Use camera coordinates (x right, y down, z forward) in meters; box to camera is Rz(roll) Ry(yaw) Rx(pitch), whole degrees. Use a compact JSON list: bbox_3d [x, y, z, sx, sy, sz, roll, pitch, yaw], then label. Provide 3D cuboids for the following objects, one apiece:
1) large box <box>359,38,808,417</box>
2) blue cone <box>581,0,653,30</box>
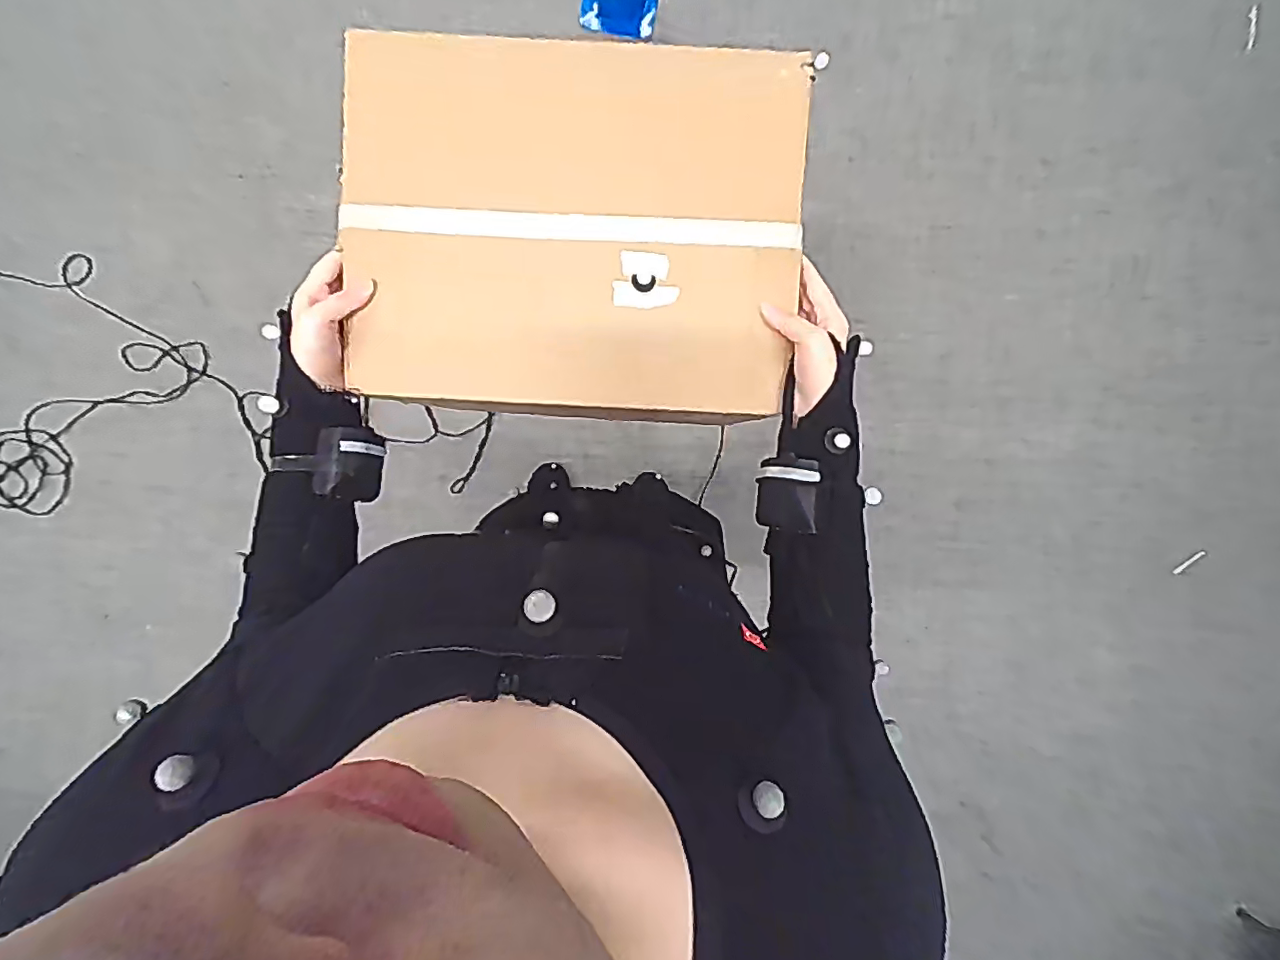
[{"bbox_3d":[-0.057,-0.240,0.636,0.408,0.320,0.320,2,95,-1],"label":"large box"},{"bbox_3d":[-0.059,-1.305,1.284,0.193,0.380,0.192,11,92,1],"label":"blue cone"}]
